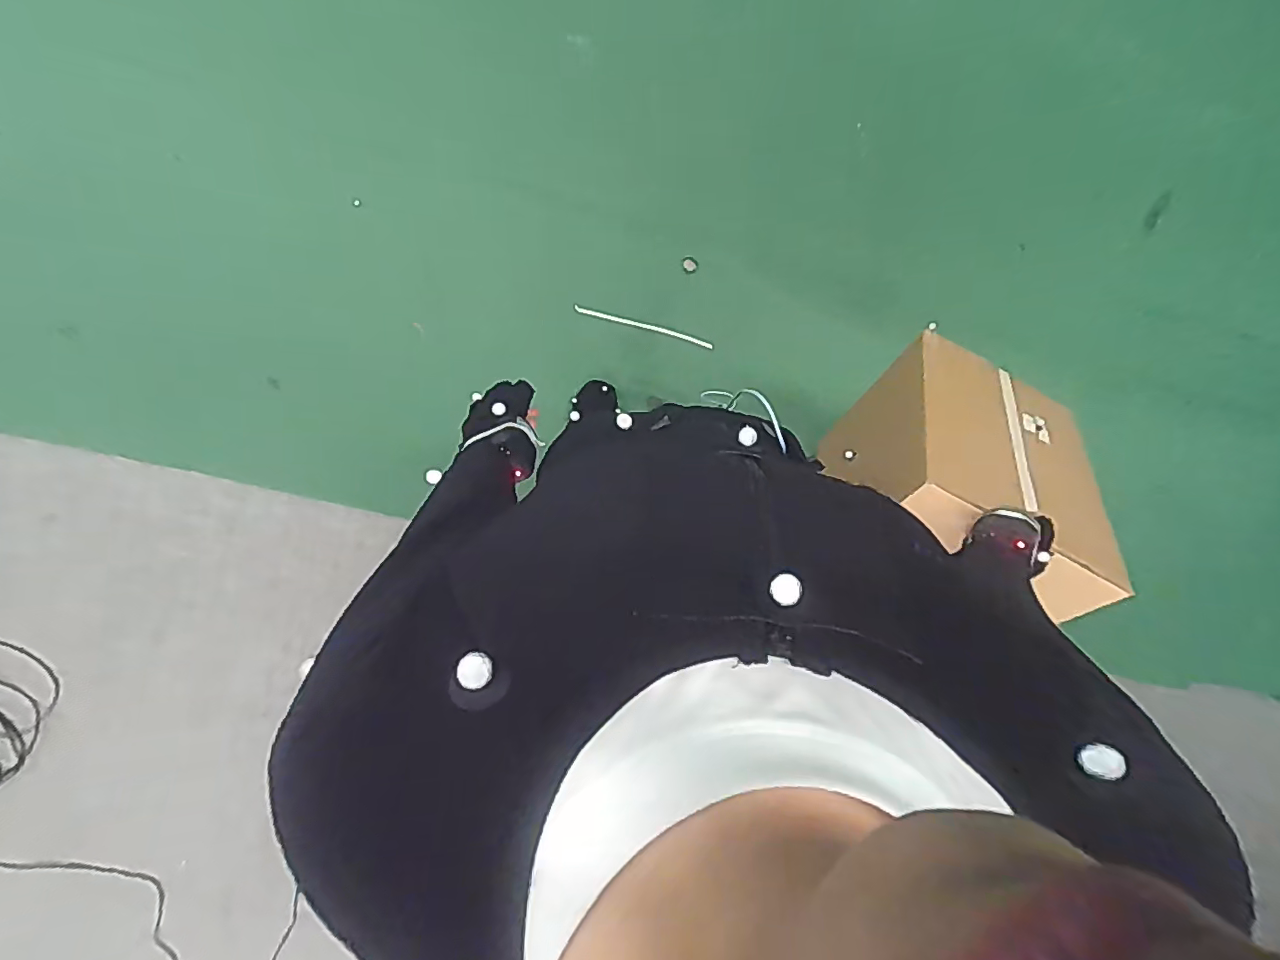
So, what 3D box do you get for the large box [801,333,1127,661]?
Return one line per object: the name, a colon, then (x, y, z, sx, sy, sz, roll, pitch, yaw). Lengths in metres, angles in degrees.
large box: (0.511, 0.029, 0.936, 0.320, 0.408, 0.320, 29, 138, -3)
